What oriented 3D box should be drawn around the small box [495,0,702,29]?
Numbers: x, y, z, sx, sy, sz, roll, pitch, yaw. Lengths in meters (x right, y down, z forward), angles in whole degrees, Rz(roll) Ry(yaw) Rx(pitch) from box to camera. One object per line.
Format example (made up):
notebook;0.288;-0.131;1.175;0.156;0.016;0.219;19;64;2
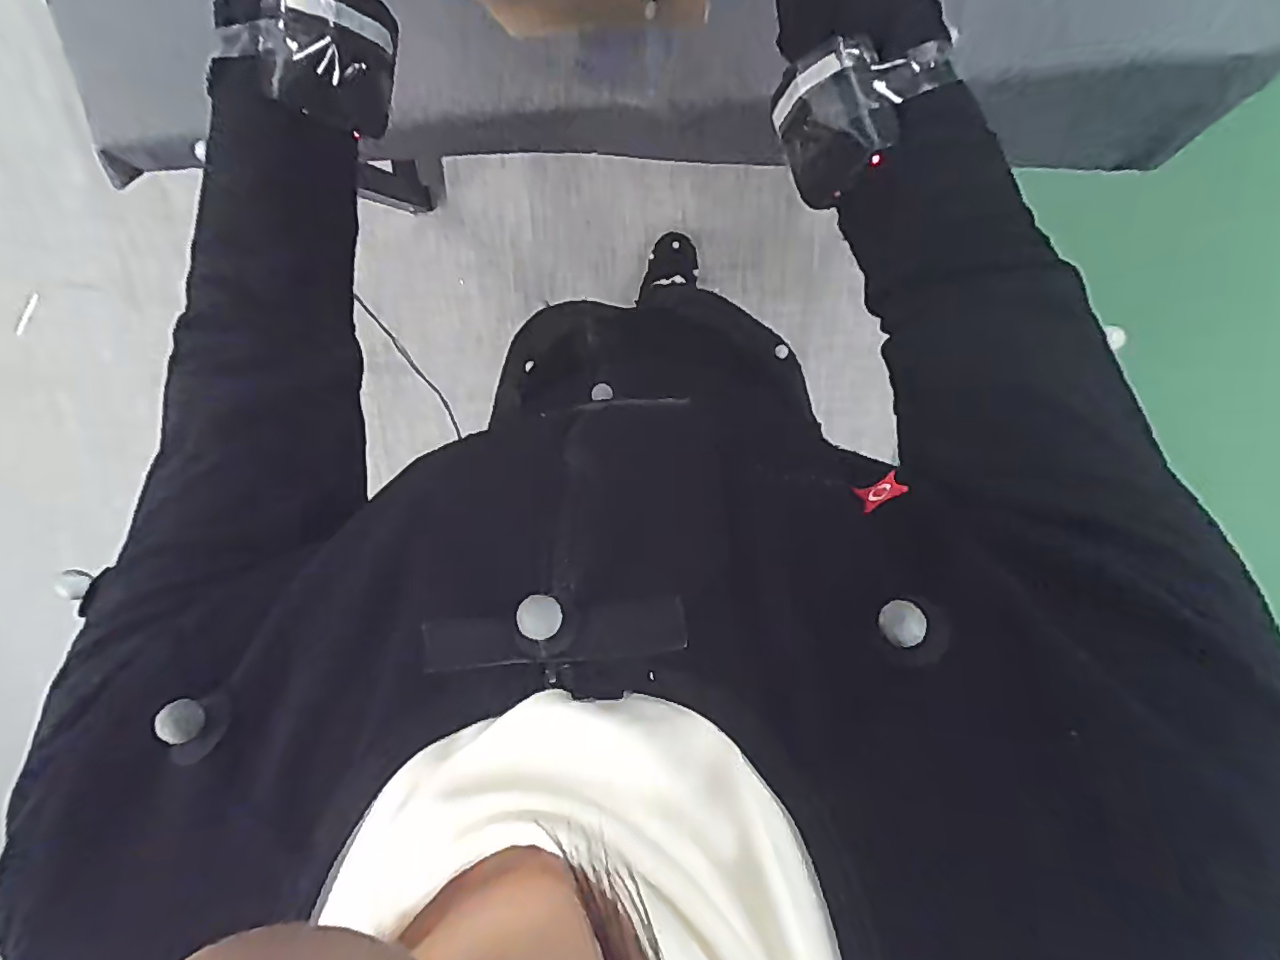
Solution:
small box;-0.032;-0.442;0.373;0.179;0.176;0.168;0;116;5
